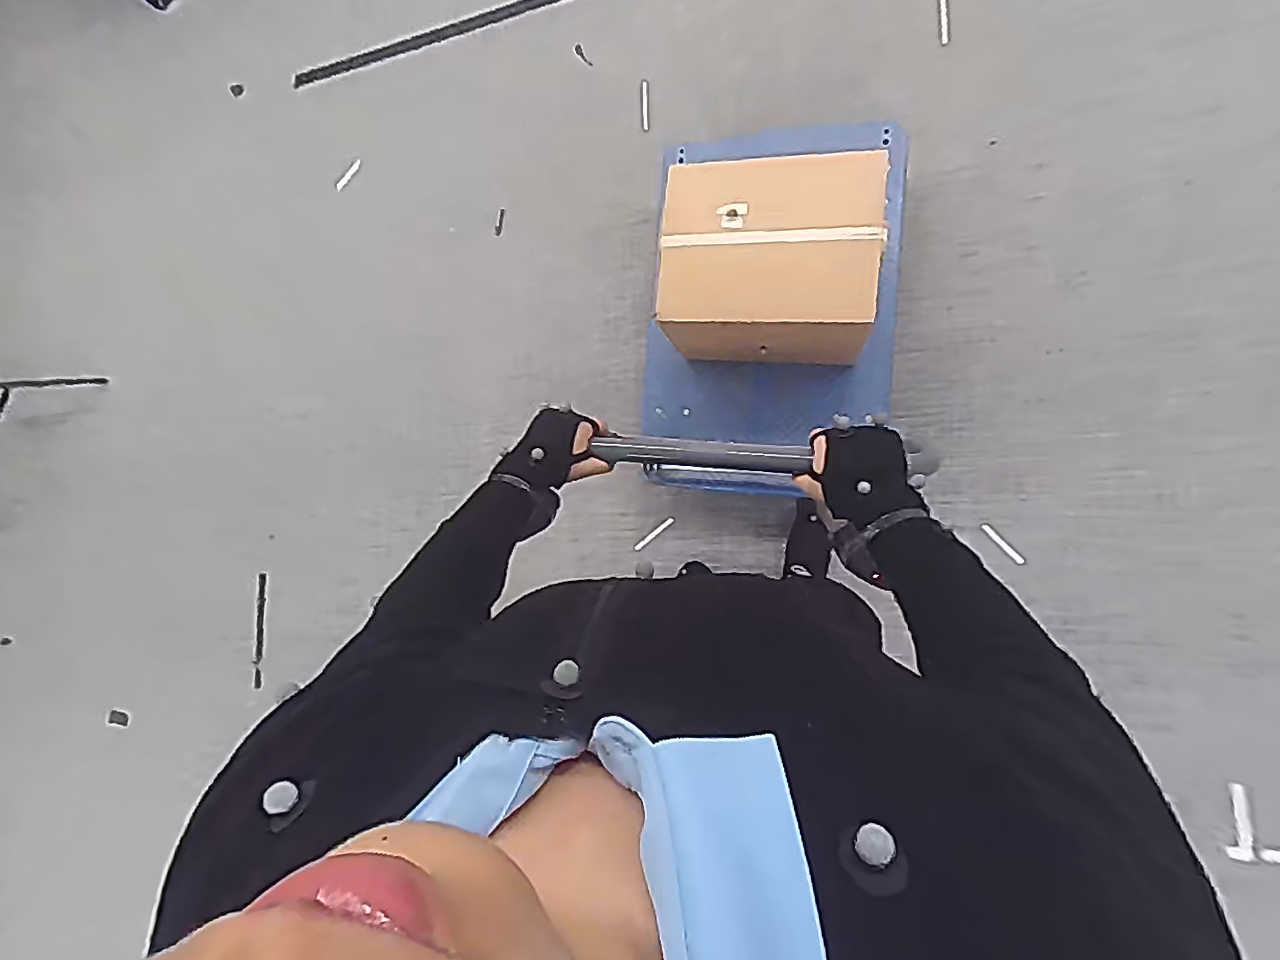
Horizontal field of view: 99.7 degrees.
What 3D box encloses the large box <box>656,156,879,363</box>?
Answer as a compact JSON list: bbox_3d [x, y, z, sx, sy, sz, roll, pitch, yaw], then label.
[{"bbox_3d":[0.276,-0.439,1.168,0.408,0.320,0.320,5,88,17],"label":"large box"}]
